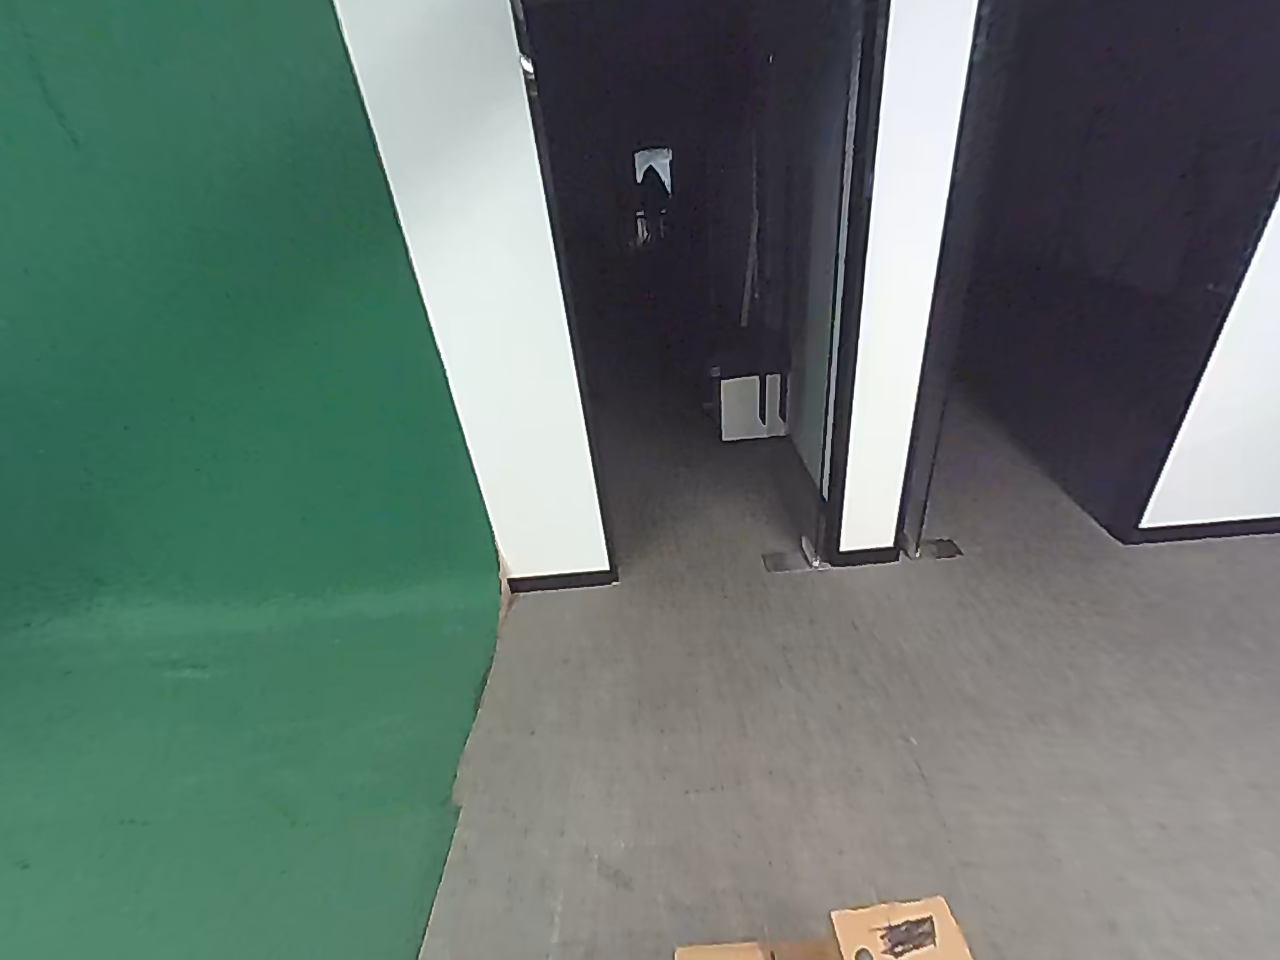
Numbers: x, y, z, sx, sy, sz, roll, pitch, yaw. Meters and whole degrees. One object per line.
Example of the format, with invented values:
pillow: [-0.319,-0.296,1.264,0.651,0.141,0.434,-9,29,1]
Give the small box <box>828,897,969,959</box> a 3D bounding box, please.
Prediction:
small box: [0.366,0.722,0.744,0.168,0.176,0.179,-9,30,2]
